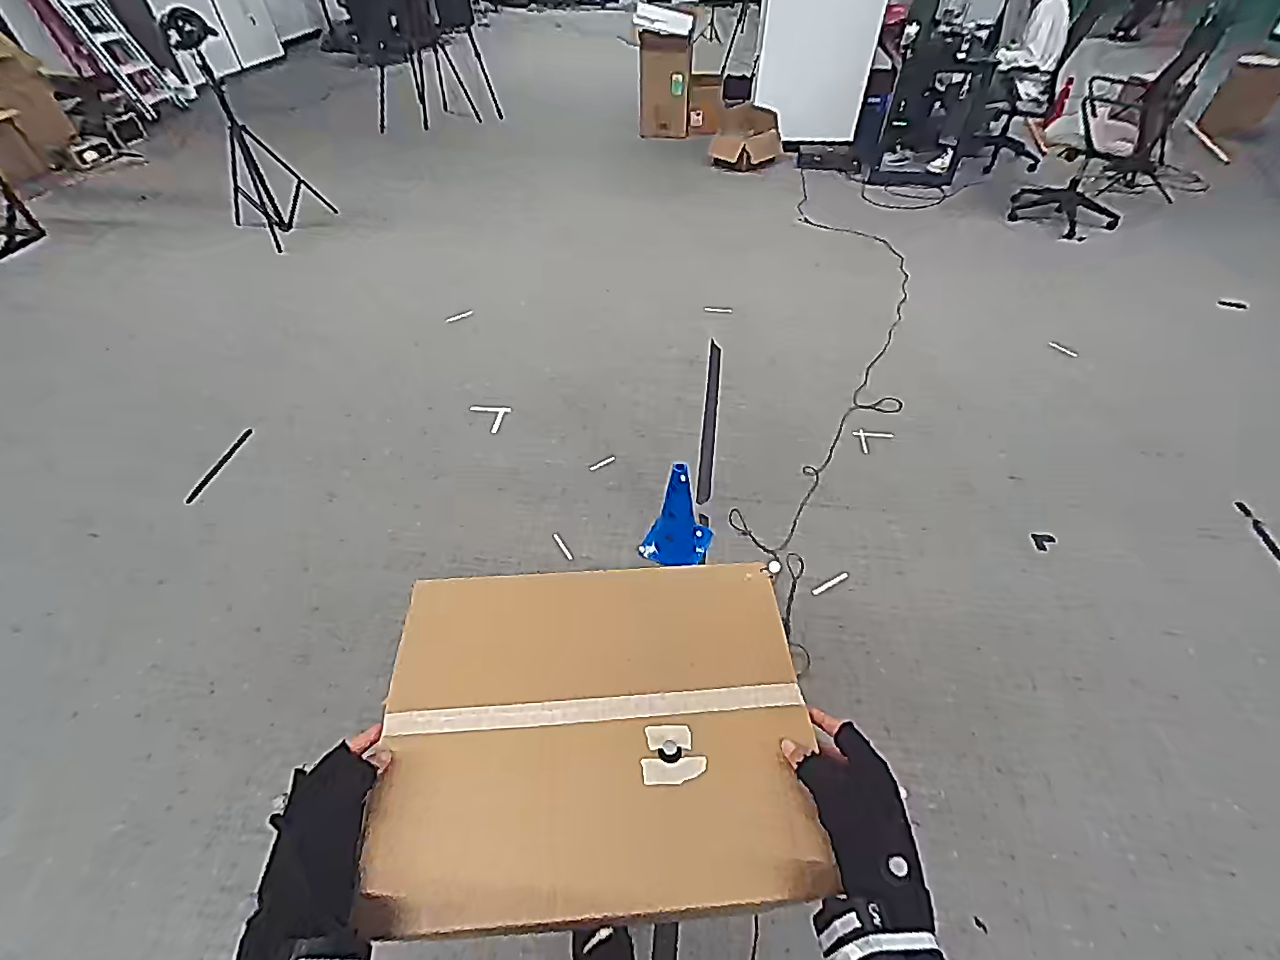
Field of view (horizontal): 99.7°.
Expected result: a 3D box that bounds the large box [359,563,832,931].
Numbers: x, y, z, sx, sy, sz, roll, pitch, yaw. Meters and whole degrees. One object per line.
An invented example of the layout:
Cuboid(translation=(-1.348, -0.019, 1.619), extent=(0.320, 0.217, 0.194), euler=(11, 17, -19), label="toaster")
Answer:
Cuboid(translation=(-0.047, 0.323, 0.655), extent=(0.408, 0.320, 0.320), euler=(-2, 49, -3), label="large box")

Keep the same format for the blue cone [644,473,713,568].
Cuboid(translation=(0.125, 0.112, 1.677), extent=(0.193, 0.380, 0.192), euler=(21, 51, 20), label="blue cone")
